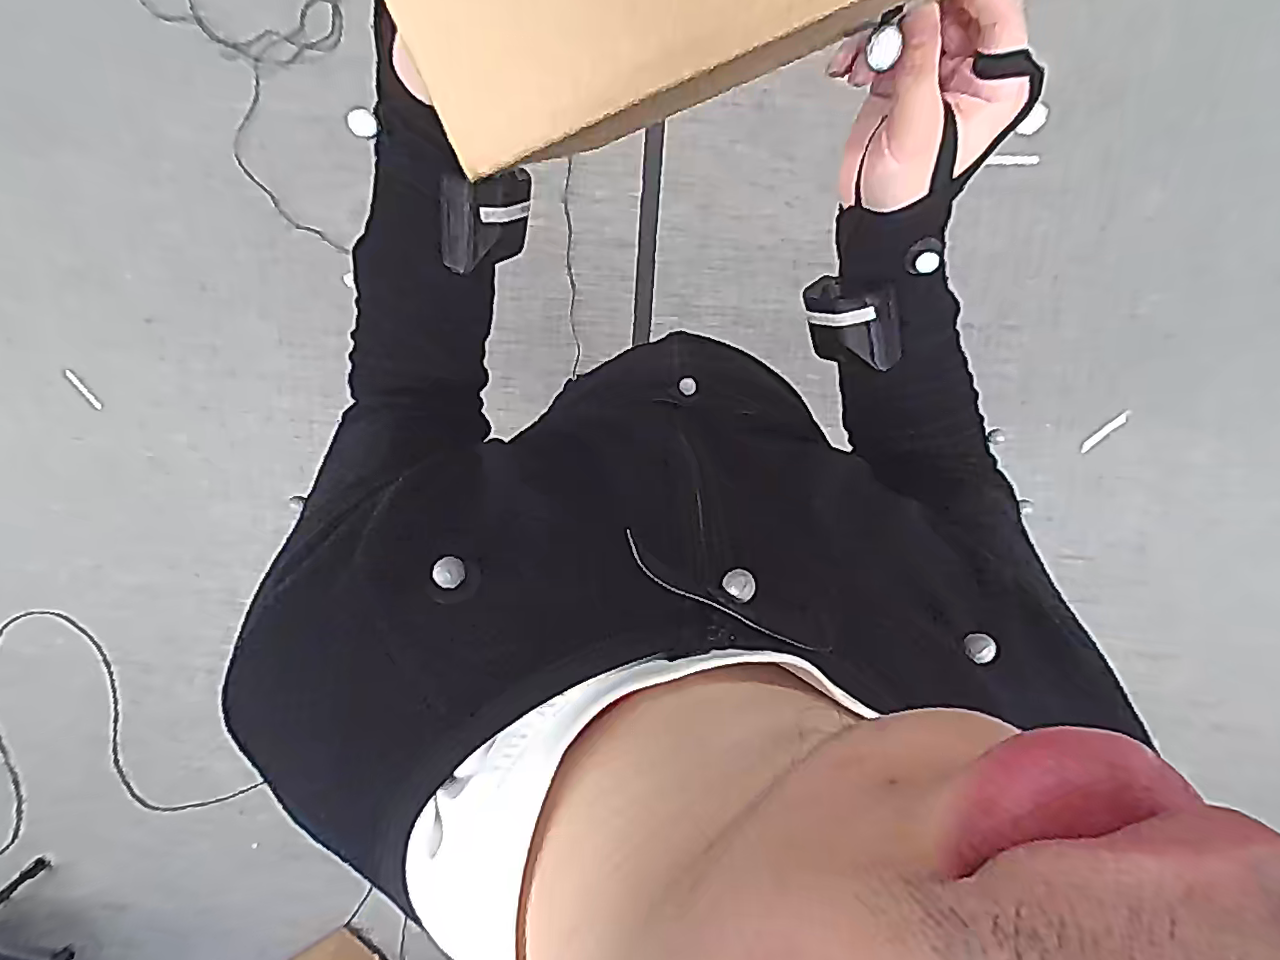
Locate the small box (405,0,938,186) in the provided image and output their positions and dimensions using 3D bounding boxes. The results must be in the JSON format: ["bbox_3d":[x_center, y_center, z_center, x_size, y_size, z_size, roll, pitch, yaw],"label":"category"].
[{"bbox_3d":[0.015,-0.223,0.175,0.179,0.176,0.168,-13,120,20],"label":"small box"}]
